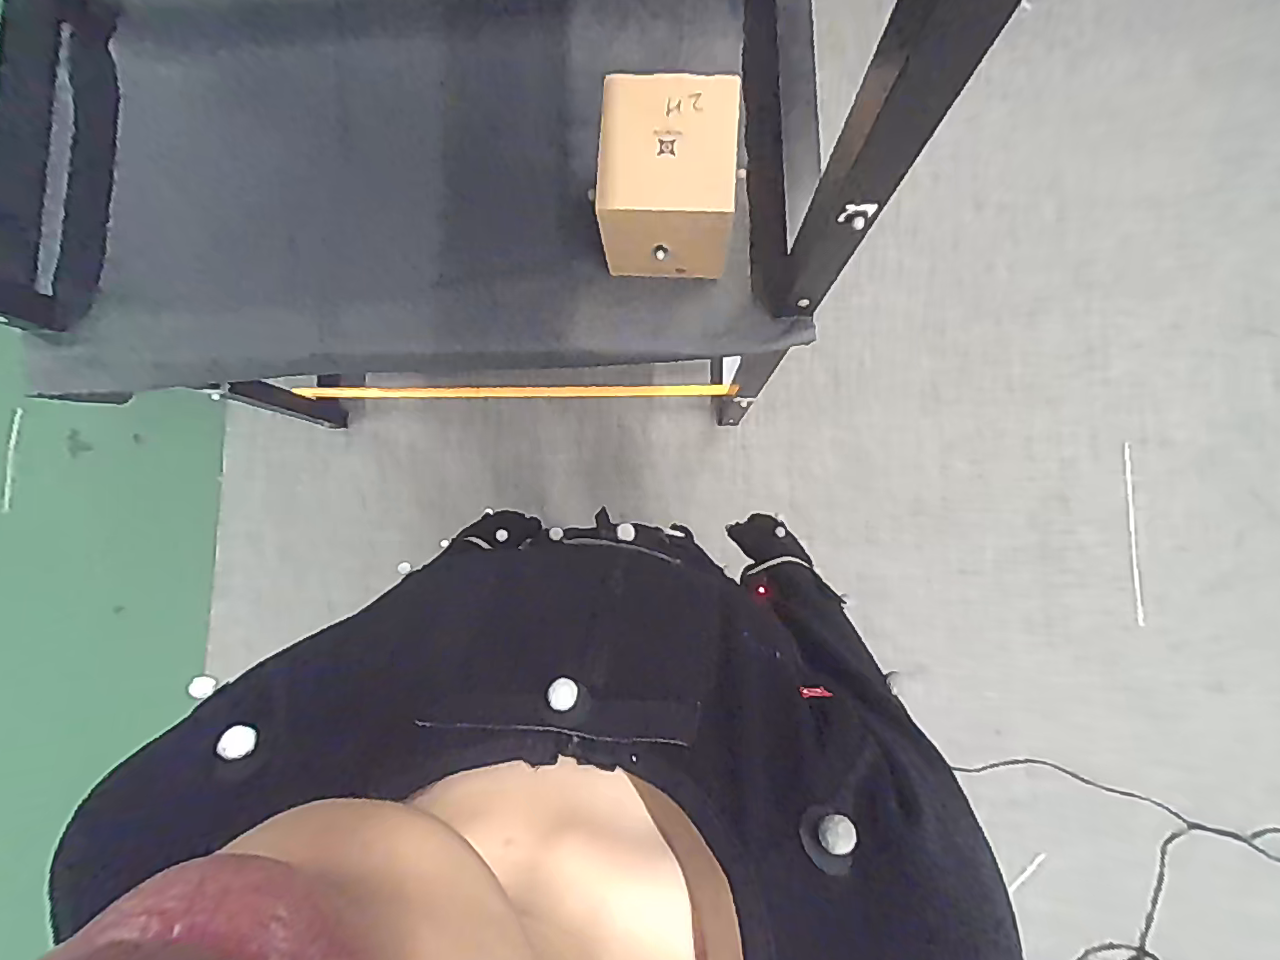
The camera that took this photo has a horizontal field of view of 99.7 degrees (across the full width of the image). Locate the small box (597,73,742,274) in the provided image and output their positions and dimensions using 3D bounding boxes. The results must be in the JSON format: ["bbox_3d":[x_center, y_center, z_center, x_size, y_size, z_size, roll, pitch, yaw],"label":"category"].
[{"bbox_3d":[0.040,-0.394,0.722,0.168,0.176,0.179,4,85,3],"label":"small box"}]
